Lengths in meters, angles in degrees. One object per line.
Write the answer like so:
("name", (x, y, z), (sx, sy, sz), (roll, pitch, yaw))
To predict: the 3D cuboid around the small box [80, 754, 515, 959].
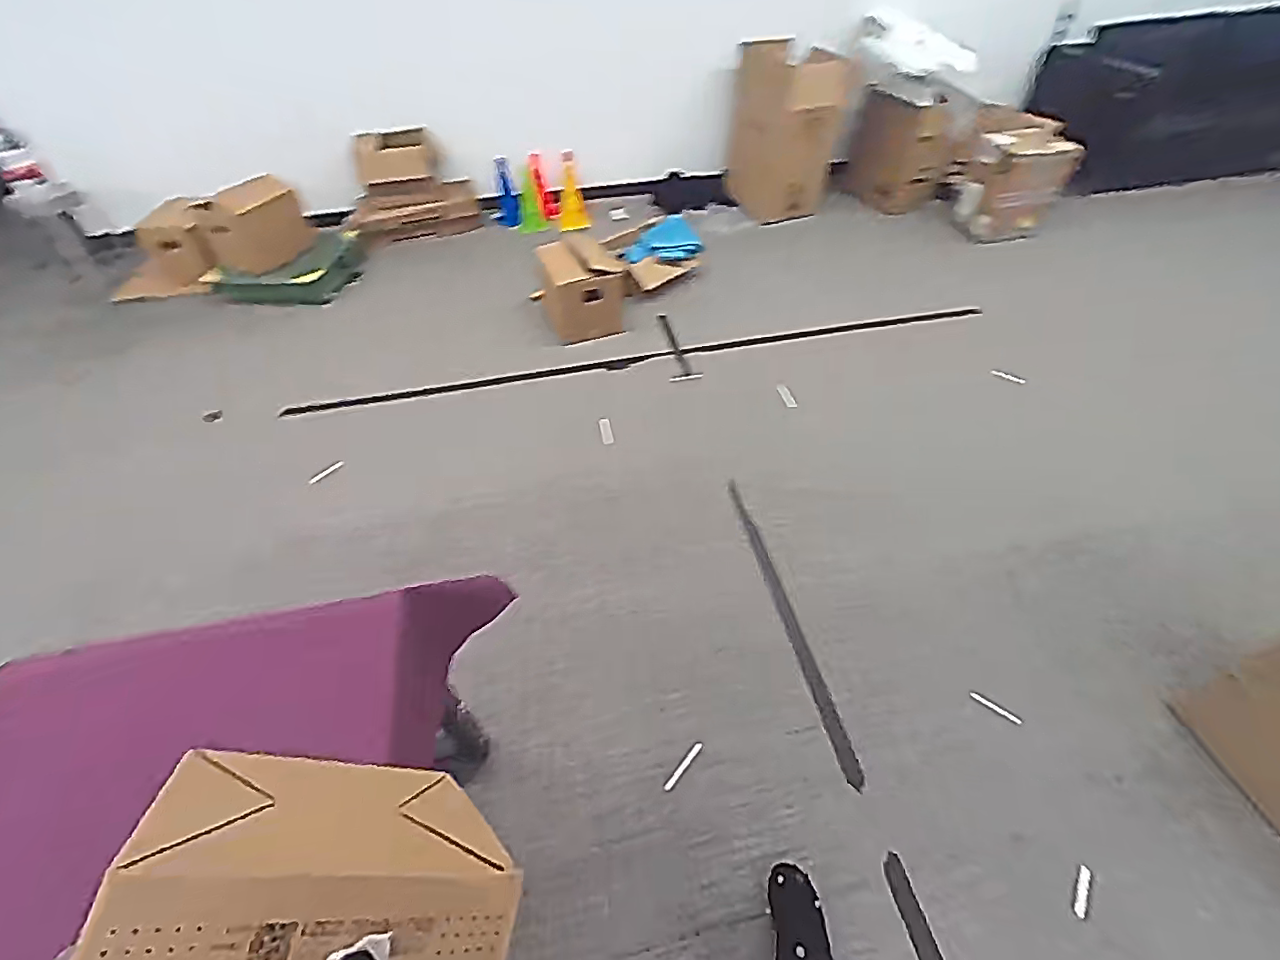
("small box", (-0.181, 0.252, 0.282), (0.168, 0.179, 0.176), (20, 69, -26))
